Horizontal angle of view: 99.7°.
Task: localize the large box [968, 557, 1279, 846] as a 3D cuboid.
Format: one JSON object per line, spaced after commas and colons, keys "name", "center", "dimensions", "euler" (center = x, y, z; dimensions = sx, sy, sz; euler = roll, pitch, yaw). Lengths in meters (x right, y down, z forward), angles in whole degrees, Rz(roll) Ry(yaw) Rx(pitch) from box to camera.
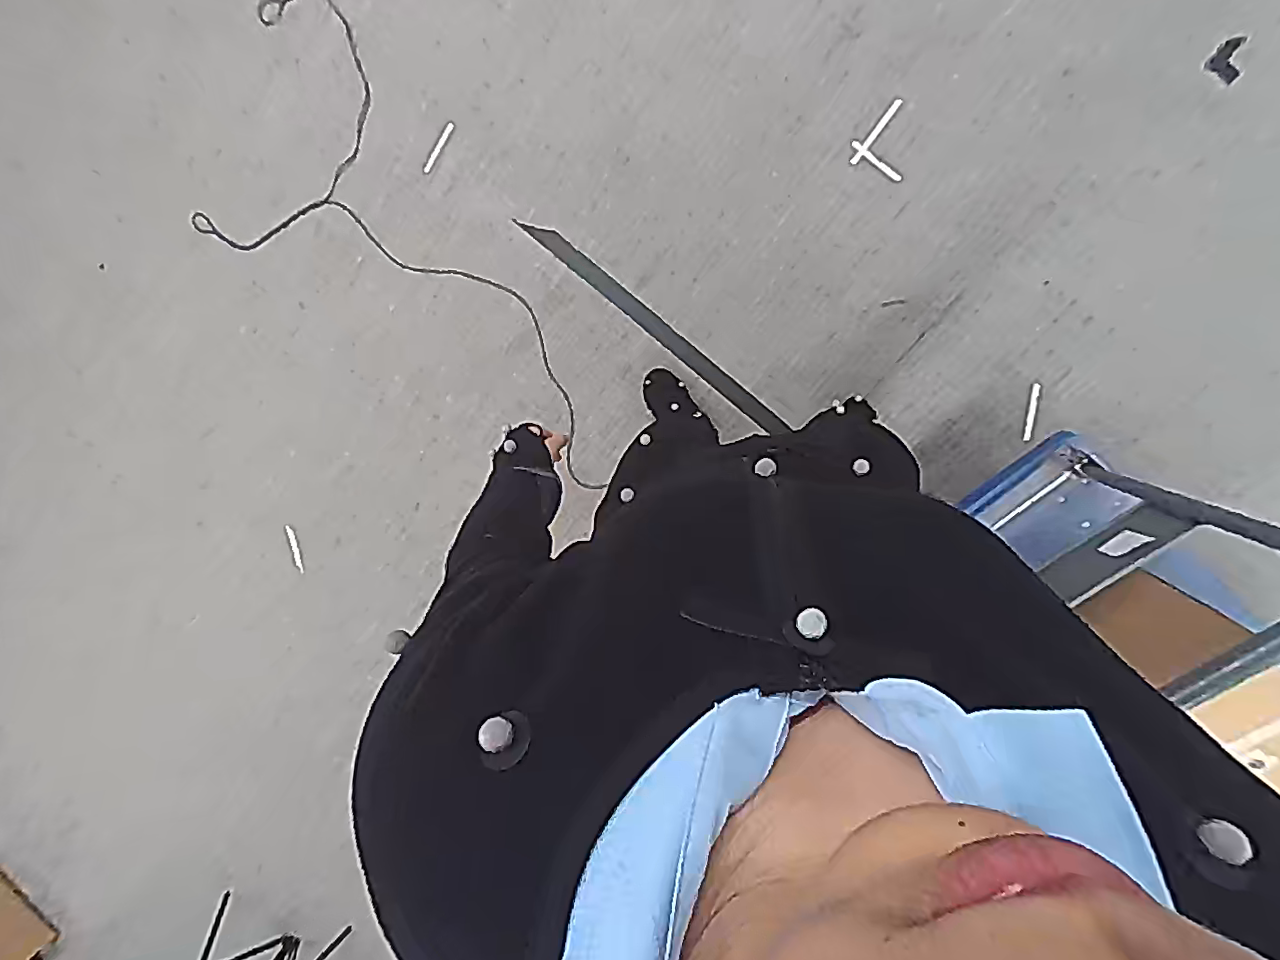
{"name": "large box", "center": [1.007, 0.437, 1.125], "dimensions": [0.320, 0.320, 0.408], "euler": [45, 106, -3]}
